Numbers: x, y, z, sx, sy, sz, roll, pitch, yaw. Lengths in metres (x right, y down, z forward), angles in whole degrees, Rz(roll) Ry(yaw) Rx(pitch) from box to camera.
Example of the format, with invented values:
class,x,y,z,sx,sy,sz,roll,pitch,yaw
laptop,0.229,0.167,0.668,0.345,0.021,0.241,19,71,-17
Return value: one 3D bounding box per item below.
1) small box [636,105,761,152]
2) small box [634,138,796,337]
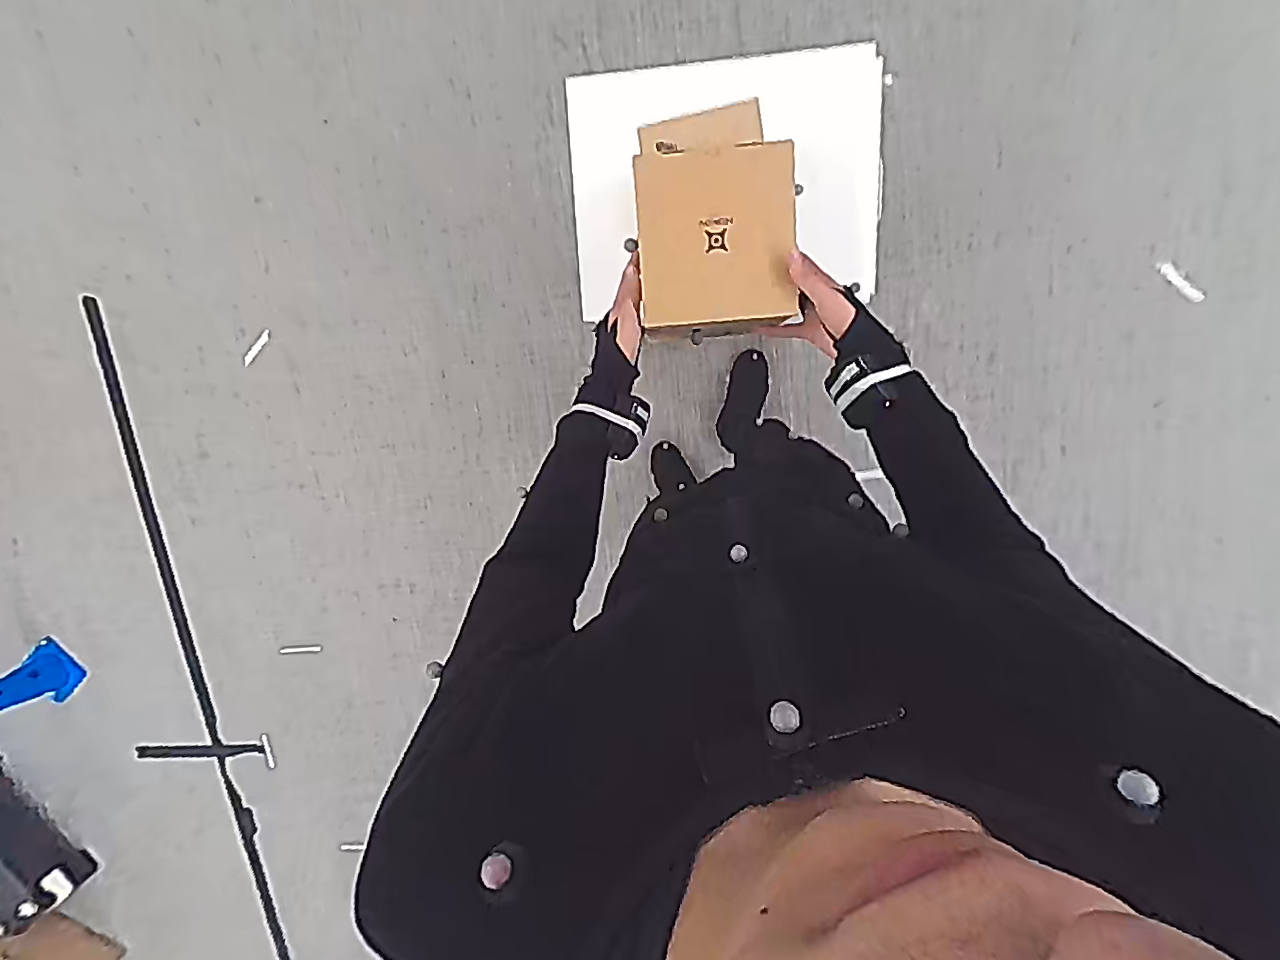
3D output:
class,x,y,z,sx,sy,sz,roll,pitch,yaw
small box,0.099,-0.447,0.856,0.179,0.176,0.168,-10,100,6
small box,0.084,-0.268,0.642,0.168,0.176,0.179,-4,98,3
